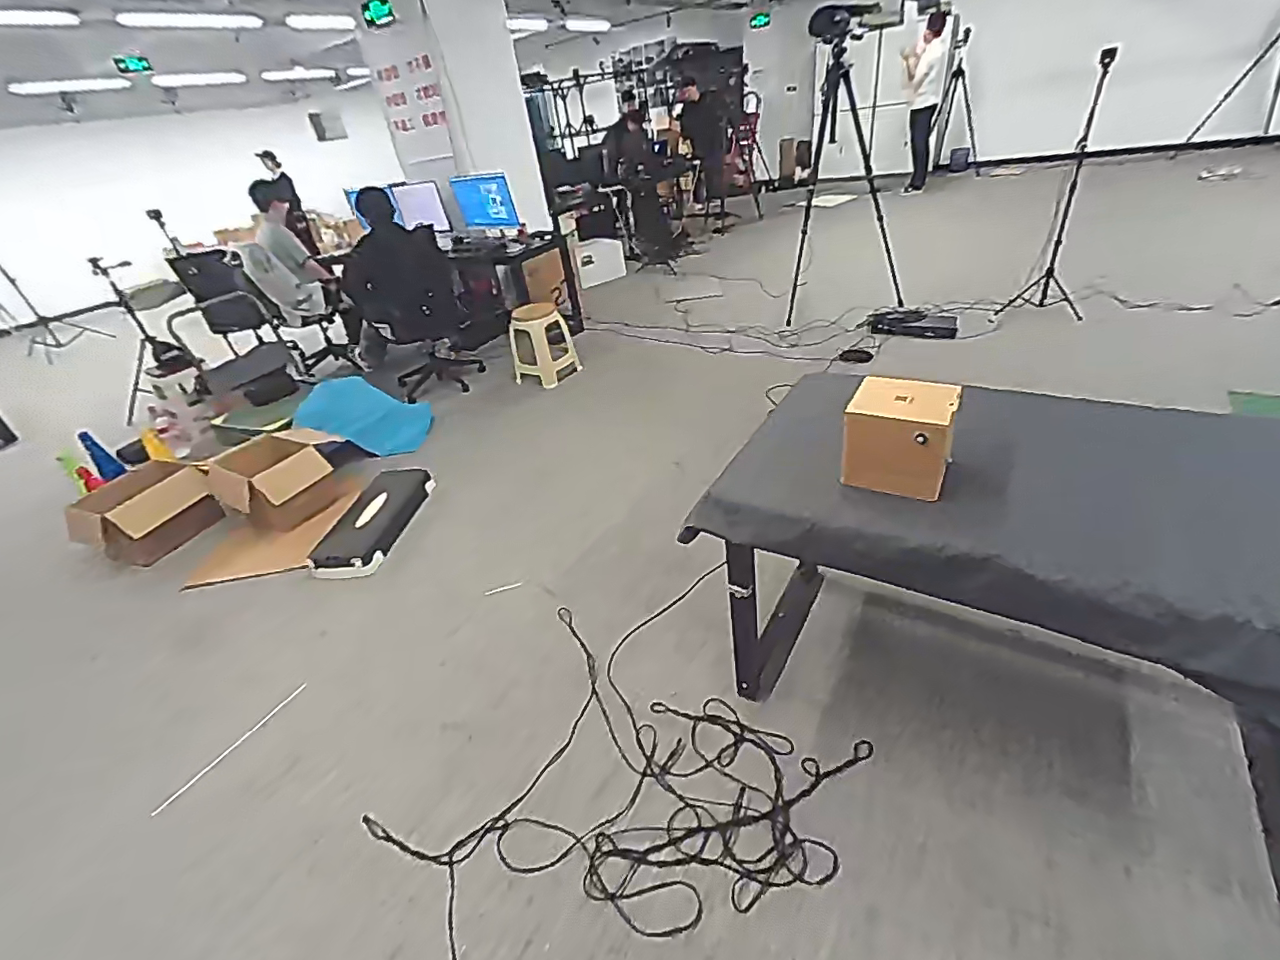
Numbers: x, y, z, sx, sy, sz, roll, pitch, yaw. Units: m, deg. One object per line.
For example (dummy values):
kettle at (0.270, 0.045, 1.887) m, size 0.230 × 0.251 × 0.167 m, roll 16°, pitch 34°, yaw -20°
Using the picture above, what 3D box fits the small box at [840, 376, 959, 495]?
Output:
small box at (0.502, -0.089, 1.059) m, size 0.179 × 0.176 × 0.168 m, roll 13°, pitch 40°, yaw 30°
